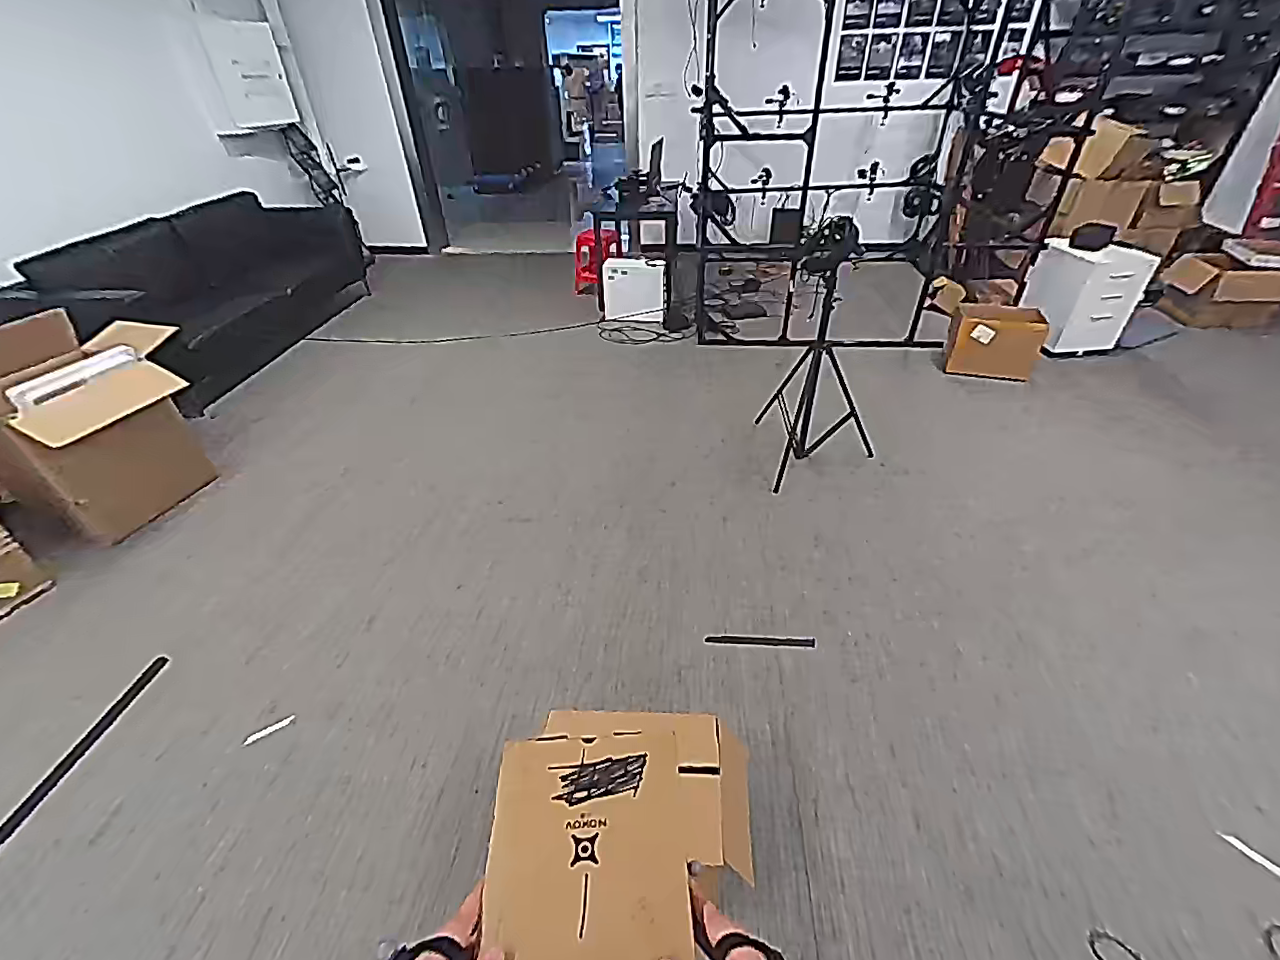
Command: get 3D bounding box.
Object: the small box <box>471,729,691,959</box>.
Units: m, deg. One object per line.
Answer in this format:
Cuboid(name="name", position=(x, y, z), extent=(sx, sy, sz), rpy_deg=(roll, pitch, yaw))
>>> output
Cuboid(name="small box", position=(-0.044, 0.363, 0.512), extent=(0.168, 0.176, 0.179), rpy_deg=(-3, 40, 0))
